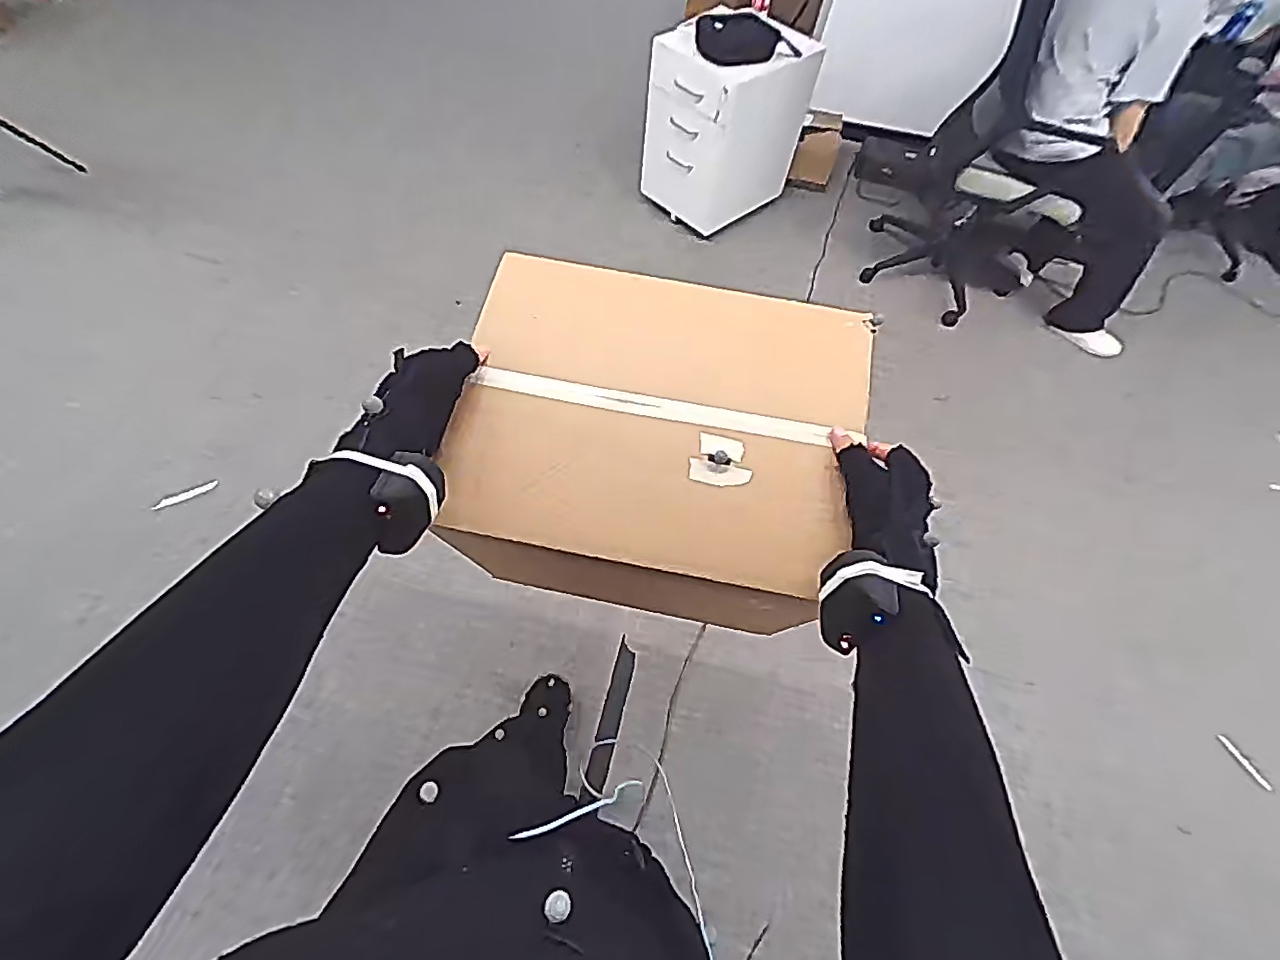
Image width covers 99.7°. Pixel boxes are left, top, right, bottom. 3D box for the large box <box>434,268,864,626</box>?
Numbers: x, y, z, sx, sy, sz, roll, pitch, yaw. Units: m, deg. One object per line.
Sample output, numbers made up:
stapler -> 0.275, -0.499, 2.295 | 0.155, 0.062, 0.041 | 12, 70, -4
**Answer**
large box -> 0.020, -0.017, 0.692 | 0.408, 0.320, 0.320 | 11, 71, 3
